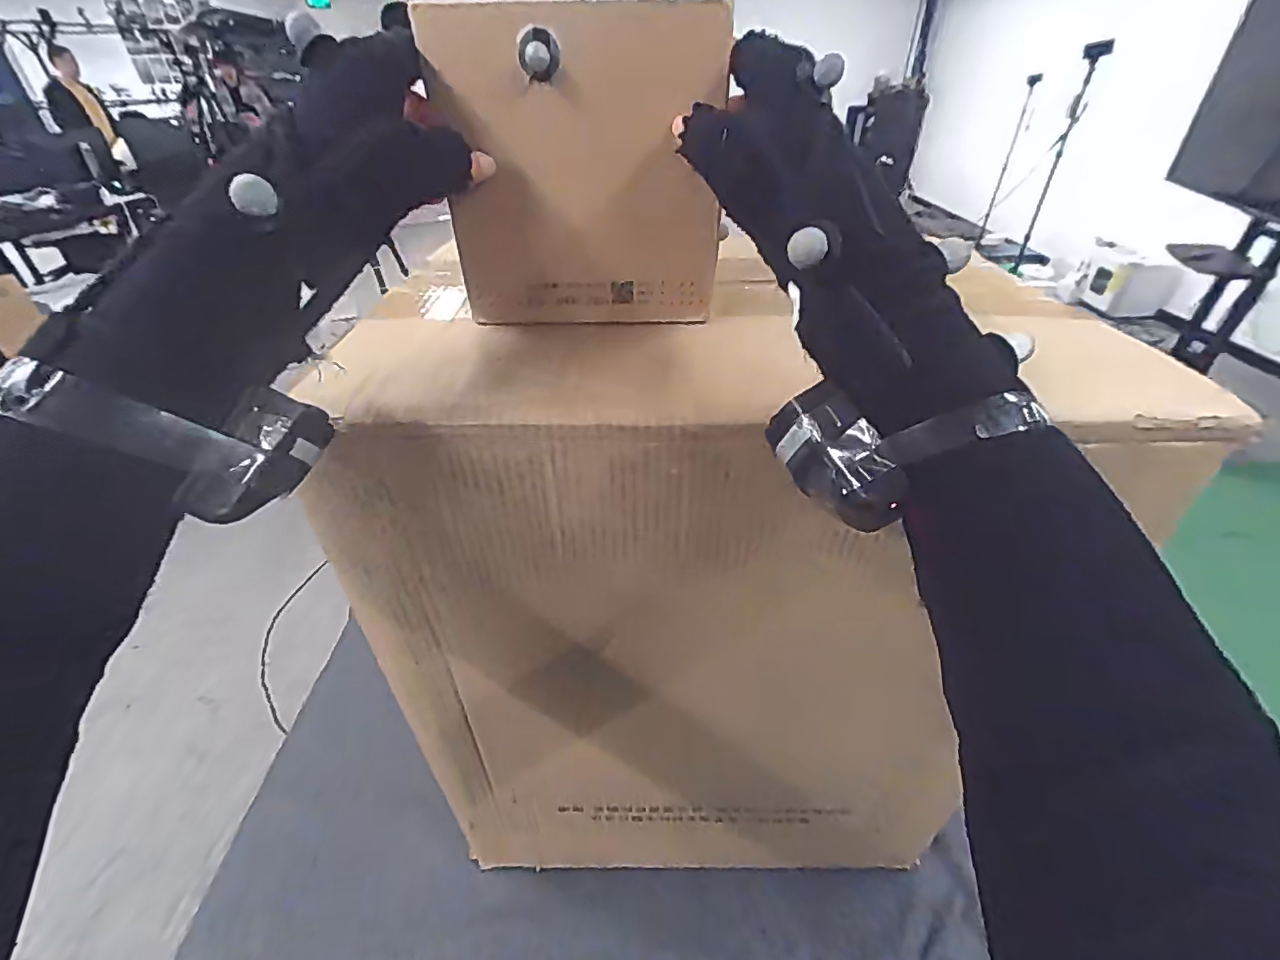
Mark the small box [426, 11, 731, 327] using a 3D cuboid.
[{"bbox_3d":[-0.031,-0.224,0.396,0.168,0.176,0.179,0,37,1],"label":"small box"}]
